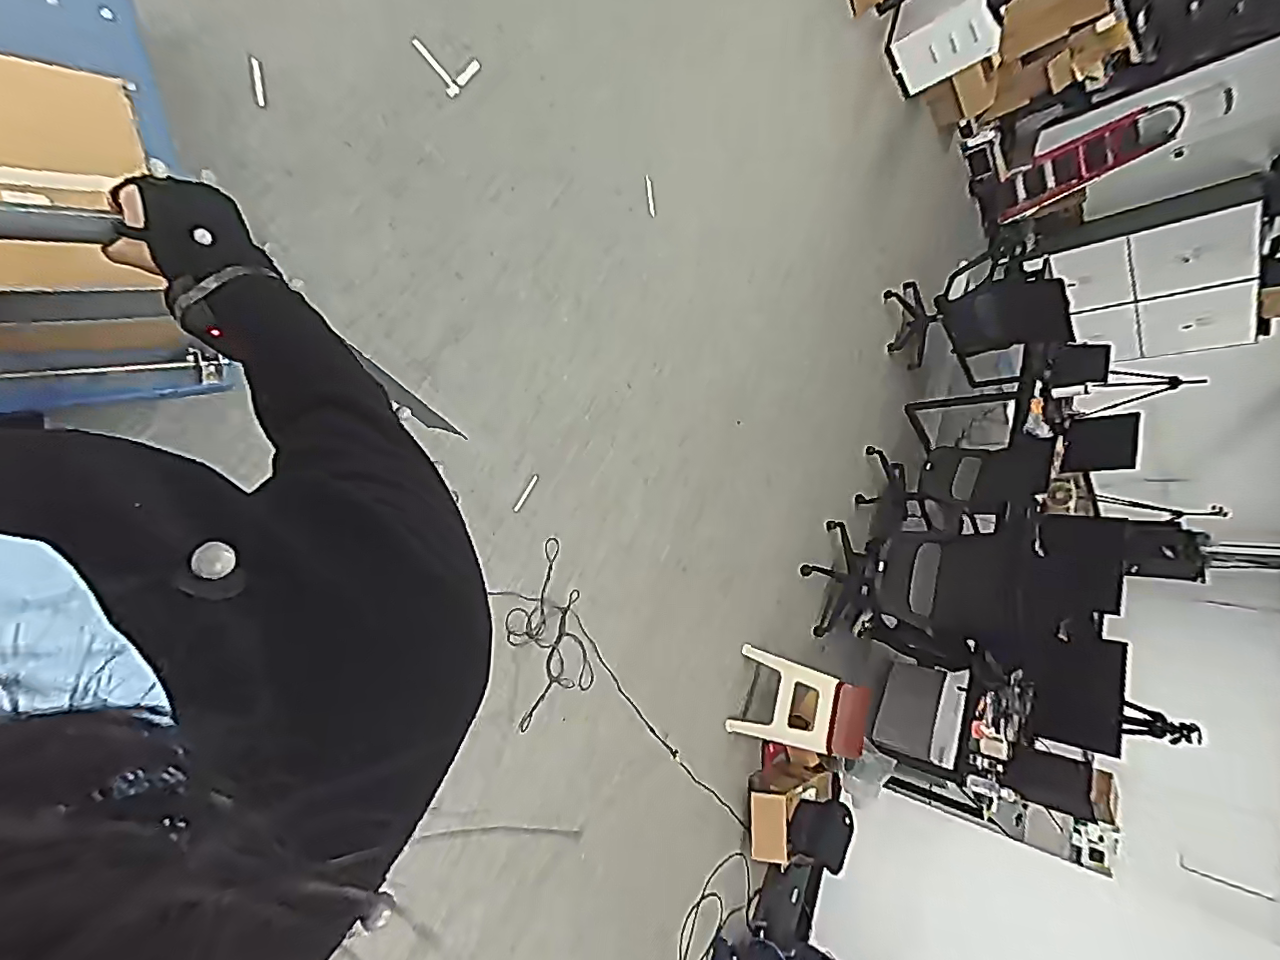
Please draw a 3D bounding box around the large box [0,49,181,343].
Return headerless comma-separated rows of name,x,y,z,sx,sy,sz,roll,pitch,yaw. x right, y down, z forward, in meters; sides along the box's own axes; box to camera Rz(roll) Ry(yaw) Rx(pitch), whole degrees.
large box,-0.960,-0.379,0.761,0.408,0.320,0.320,-19,102,-44
